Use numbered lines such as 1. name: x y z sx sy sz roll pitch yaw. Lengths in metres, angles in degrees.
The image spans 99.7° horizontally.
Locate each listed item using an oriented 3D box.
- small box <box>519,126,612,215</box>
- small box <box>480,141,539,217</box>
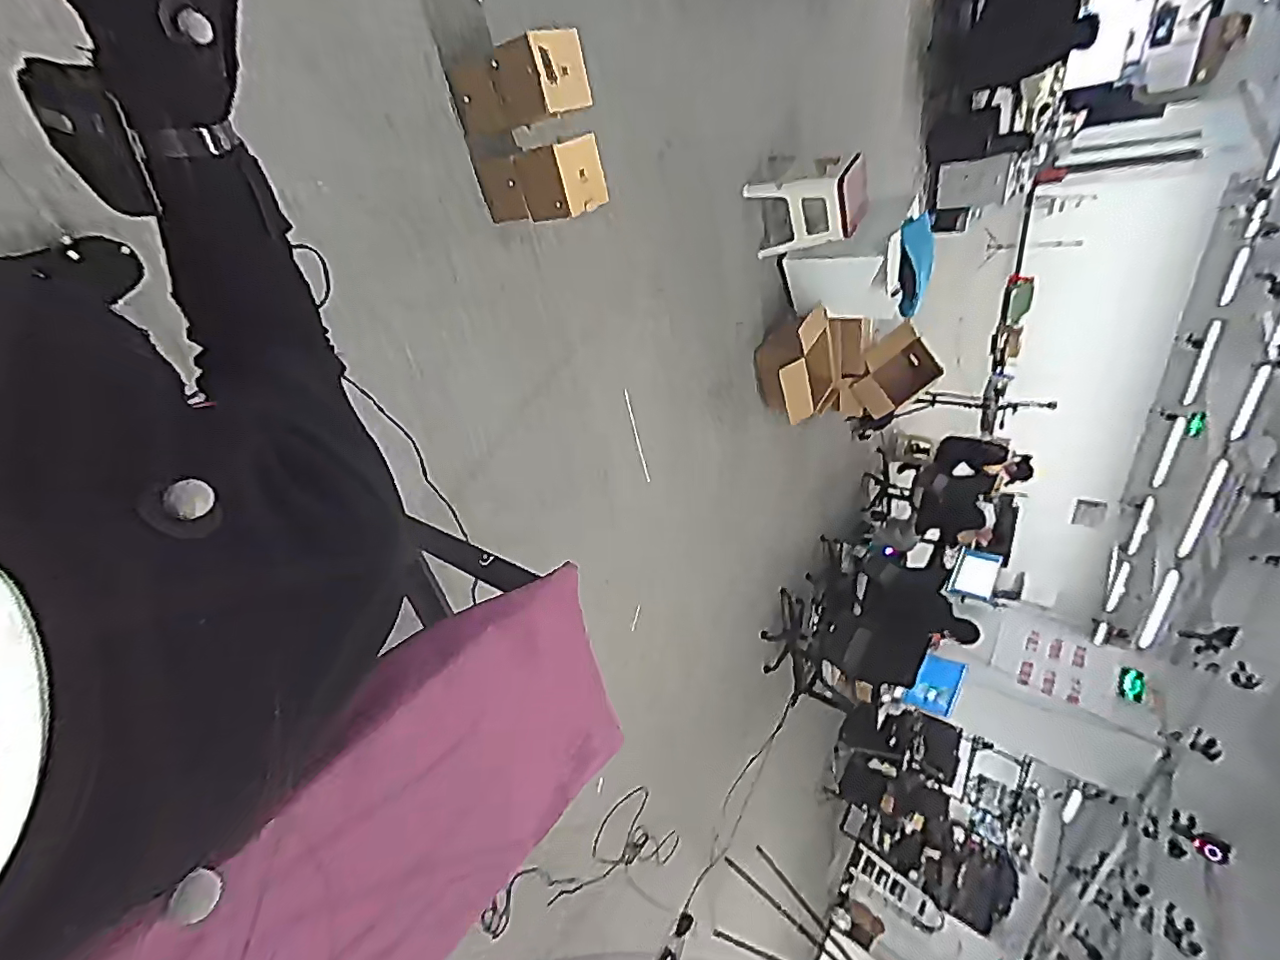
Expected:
1. small box: -0.211 -0.862 1.514 0.168 0.176 0.179 -44 134 -34
2. small box: -0.340 -0.898 1.607 0.179 0.176 0.168 -44 133 -35
